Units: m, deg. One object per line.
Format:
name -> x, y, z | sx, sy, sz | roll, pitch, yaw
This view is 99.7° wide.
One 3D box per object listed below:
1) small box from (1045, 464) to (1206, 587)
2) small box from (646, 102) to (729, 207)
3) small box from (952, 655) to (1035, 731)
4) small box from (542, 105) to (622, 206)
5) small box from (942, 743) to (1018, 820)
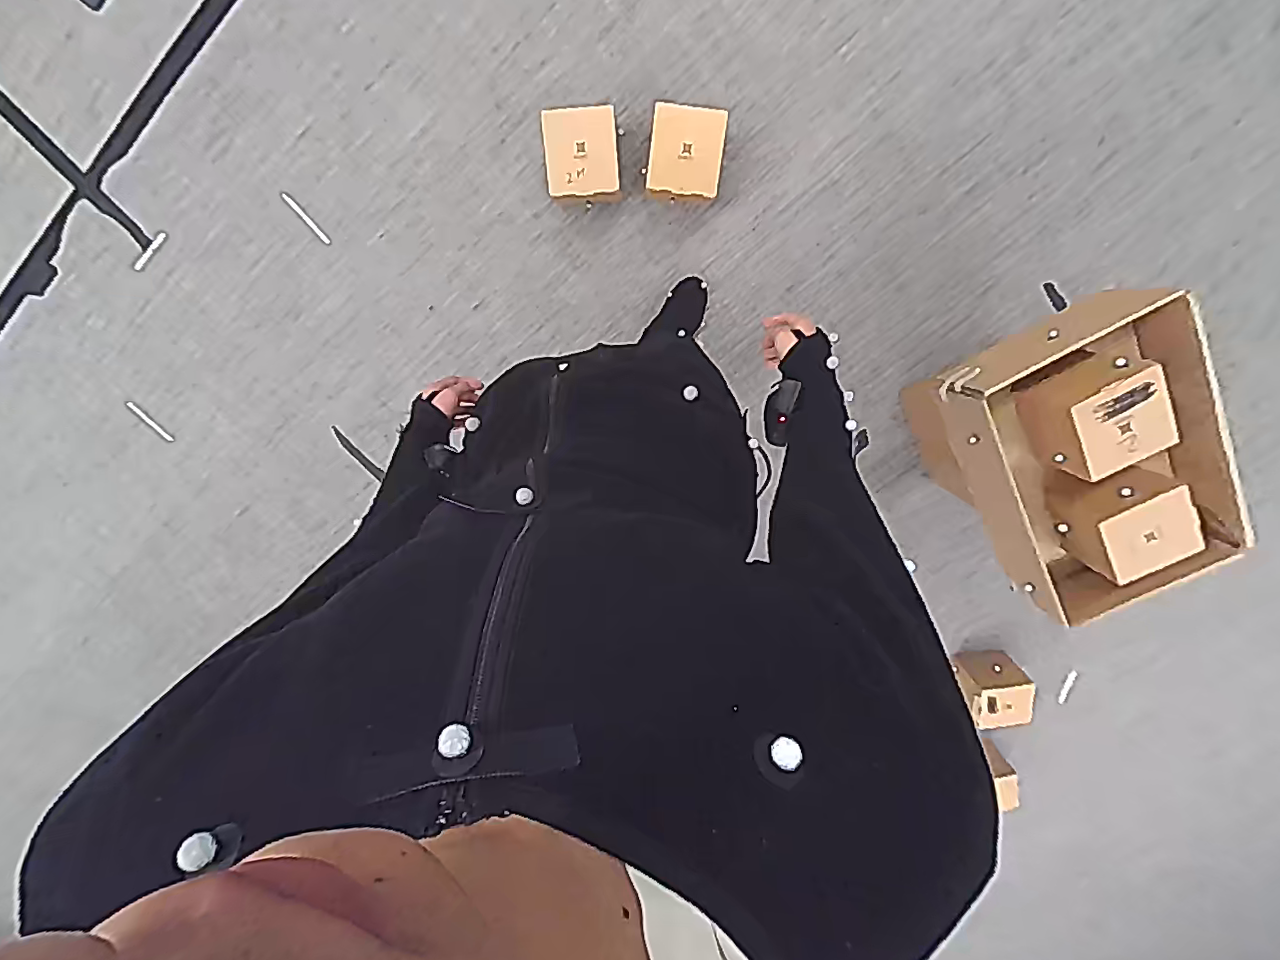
small box -> 1.025, 0.089, 1.152 | 0.179, 0.176, 0.168 | -30, 106, 7
small box -> 0.106, -0.771, 1.297 | 0.168, 0.176, 0.179 | 6, 111, -2
small box -> 1.183, 0.714, 1.825 | 0.179, 0.176, 0.168 | -8, 110, 3
small box -> -0.132, -0.769, 1.296 | 0.168, 0.176, 0.179 | -3, 110, 2
small box -> 1.228, 1.085, 1.958 | 0.179, 0.176, 0.168 | -14, 109, 5
